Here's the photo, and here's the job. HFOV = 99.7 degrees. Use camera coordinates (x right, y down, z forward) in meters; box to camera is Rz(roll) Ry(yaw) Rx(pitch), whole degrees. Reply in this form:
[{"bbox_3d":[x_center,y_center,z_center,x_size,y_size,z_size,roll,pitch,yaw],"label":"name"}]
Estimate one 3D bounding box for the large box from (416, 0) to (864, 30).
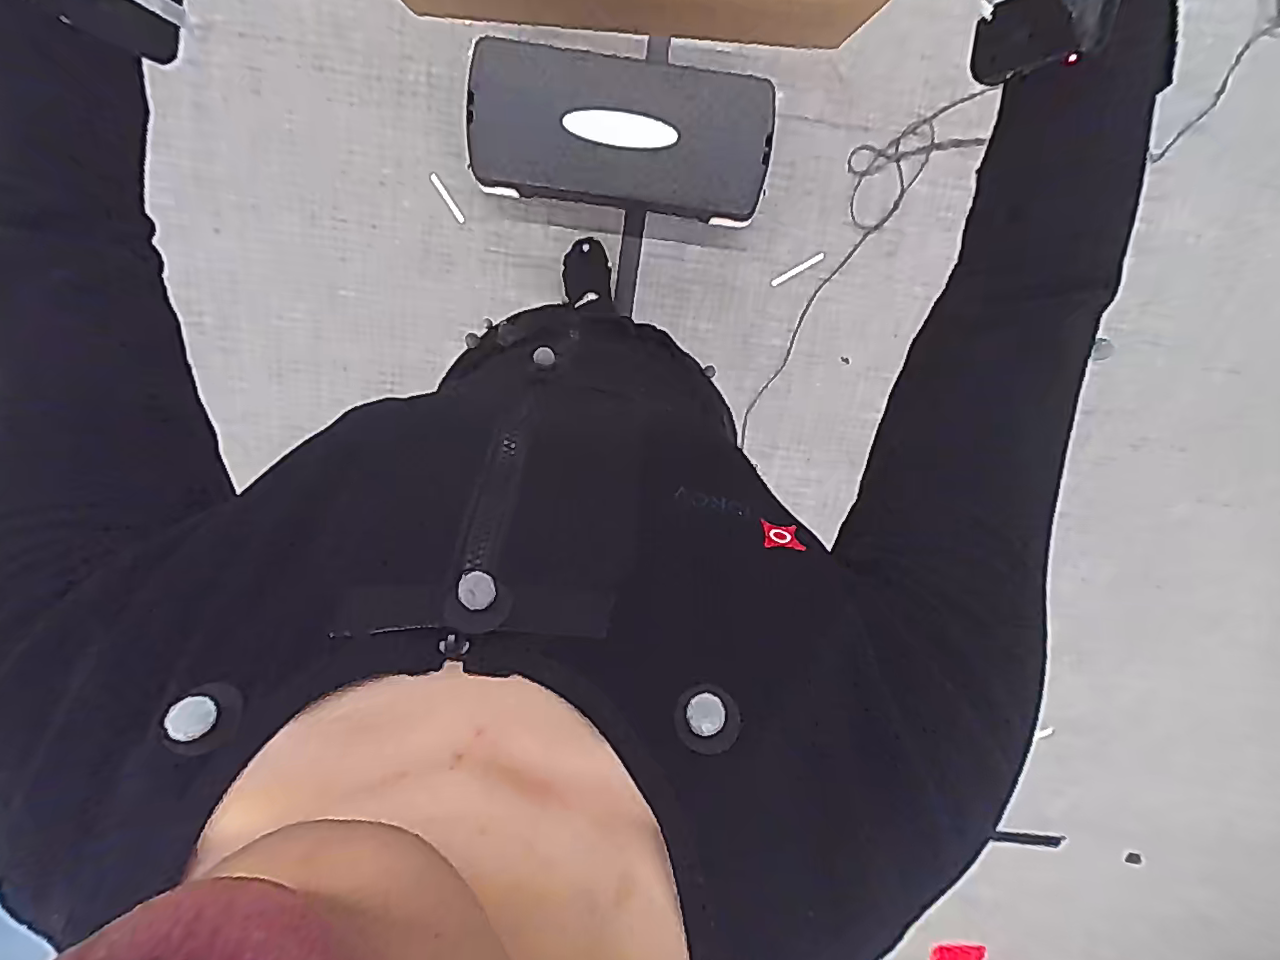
[{"bbox_3d":[0.001,-0.507,0.311,0.408,0.320,0.320,2,116,-3],"label":"large box"}]
